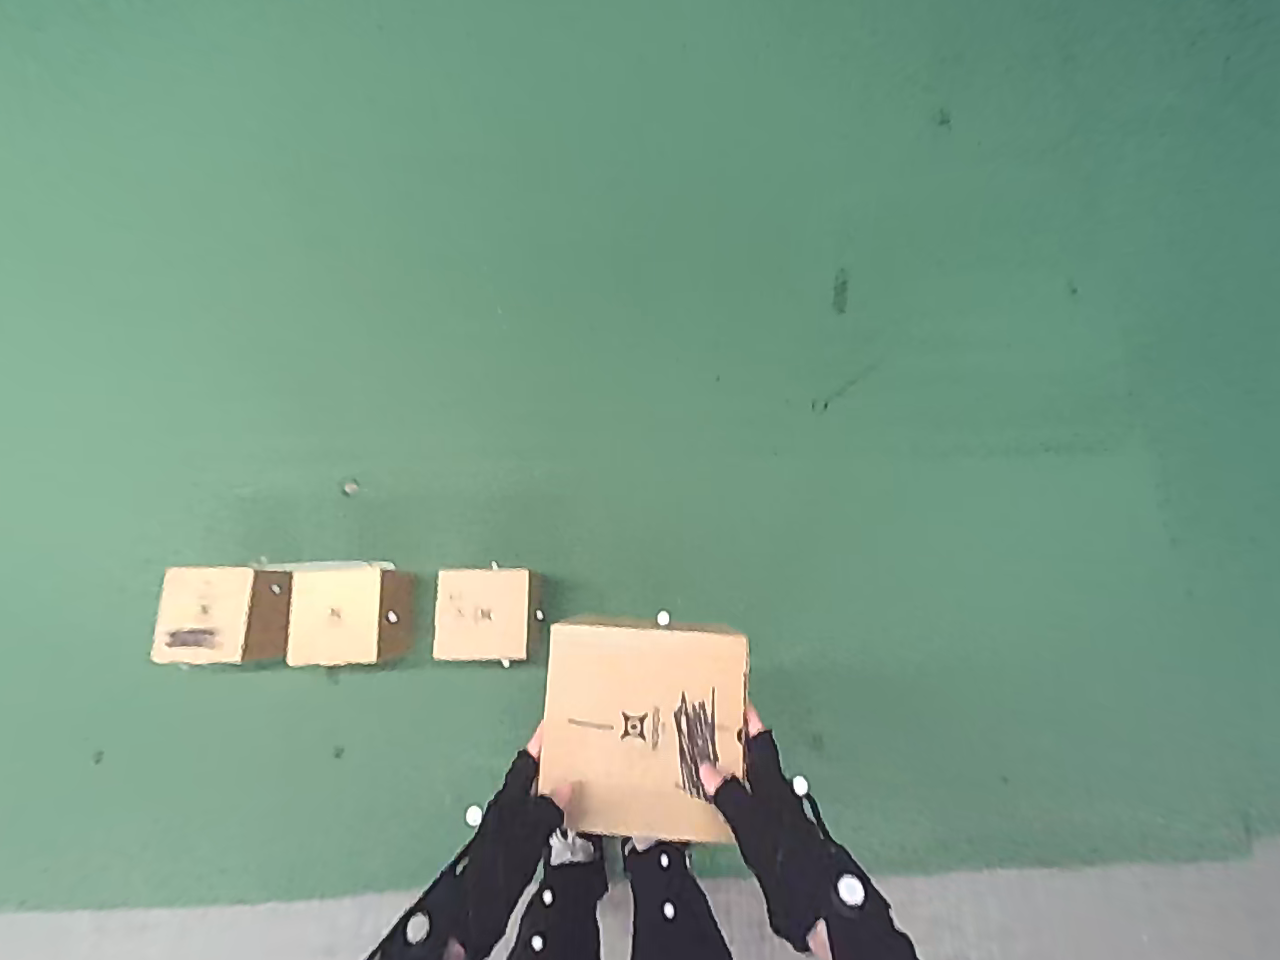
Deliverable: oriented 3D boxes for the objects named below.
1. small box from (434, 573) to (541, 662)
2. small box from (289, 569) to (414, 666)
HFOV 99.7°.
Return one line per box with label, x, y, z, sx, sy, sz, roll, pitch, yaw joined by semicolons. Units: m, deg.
small box;-0.300;0.275;1.104;0.179;0.176;0.168;1;78;-1
small box;-0.575;0.276;1.101;0.168;0.176;0.179;-2;79;-2
